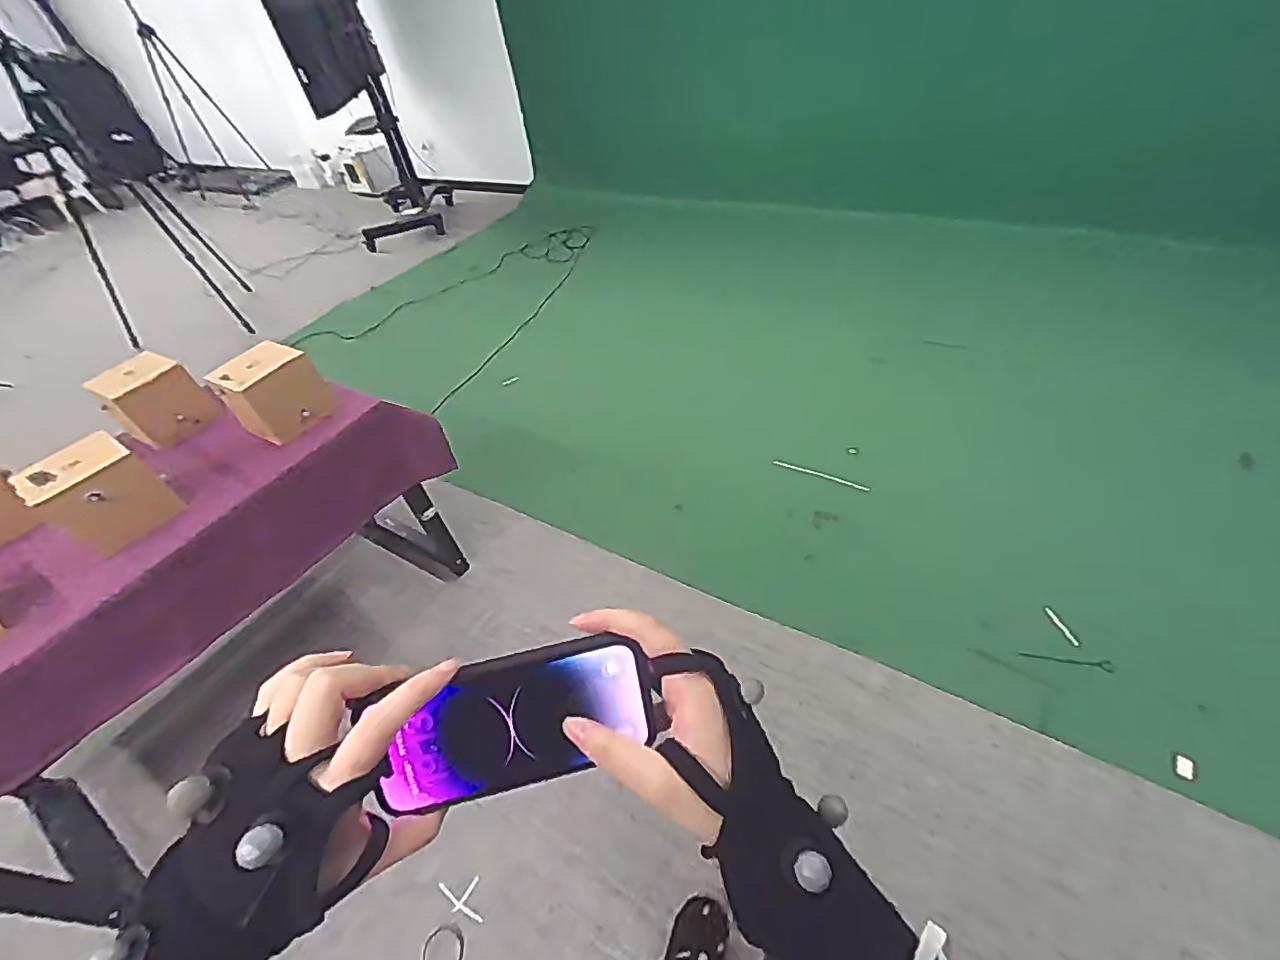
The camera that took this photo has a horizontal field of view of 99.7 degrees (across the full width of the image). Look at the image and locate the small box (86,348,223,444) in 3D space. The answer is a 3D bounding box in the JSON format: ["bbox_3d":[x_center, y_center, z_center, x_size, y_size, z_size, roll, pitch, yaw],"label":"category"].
[{"bbox_3d":[-1.243,-0.214,1.395,0.179,0.176,0.168,18,52,25],"label":"small box"}]

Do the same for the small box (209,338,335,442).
[{"bbox_3d":[-0.901,-0.225,1.347,0.168,0.176,0.179,19,51,26],"label":"small box"}]

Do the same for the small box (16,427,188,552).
[{"bbox_3d":[-1.124,0.021,1.142,0.168,0.176,0.179,23,52,28],"label":"small box"}]
